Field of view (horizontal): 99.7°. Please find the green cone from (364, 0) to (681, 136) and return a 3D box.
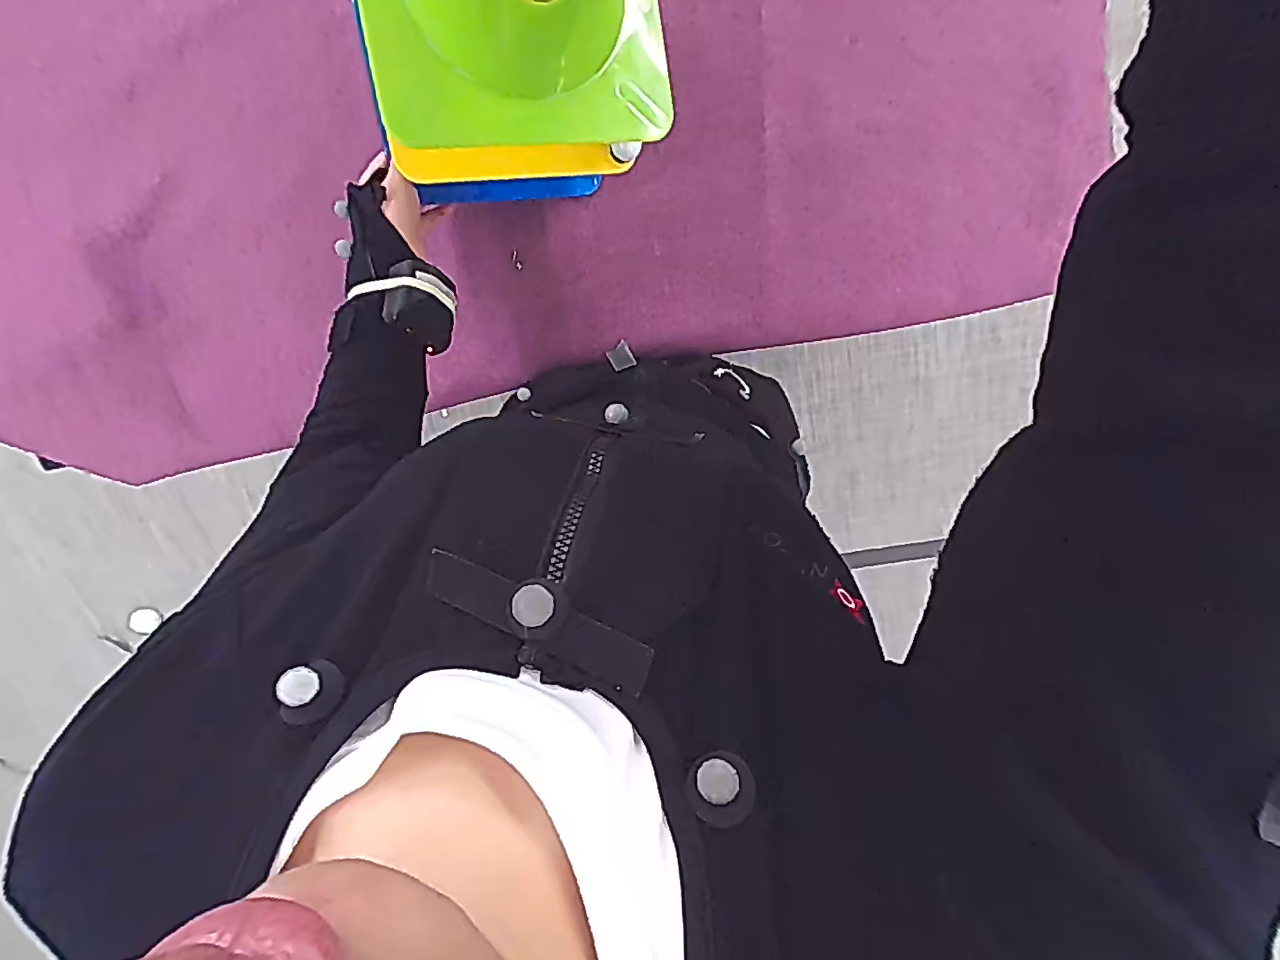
[{"bbox_3d":[-0.032,-0.313,0.183,0.200,0.368,0.202,-11,99,-14],"label":"green cone"}]
